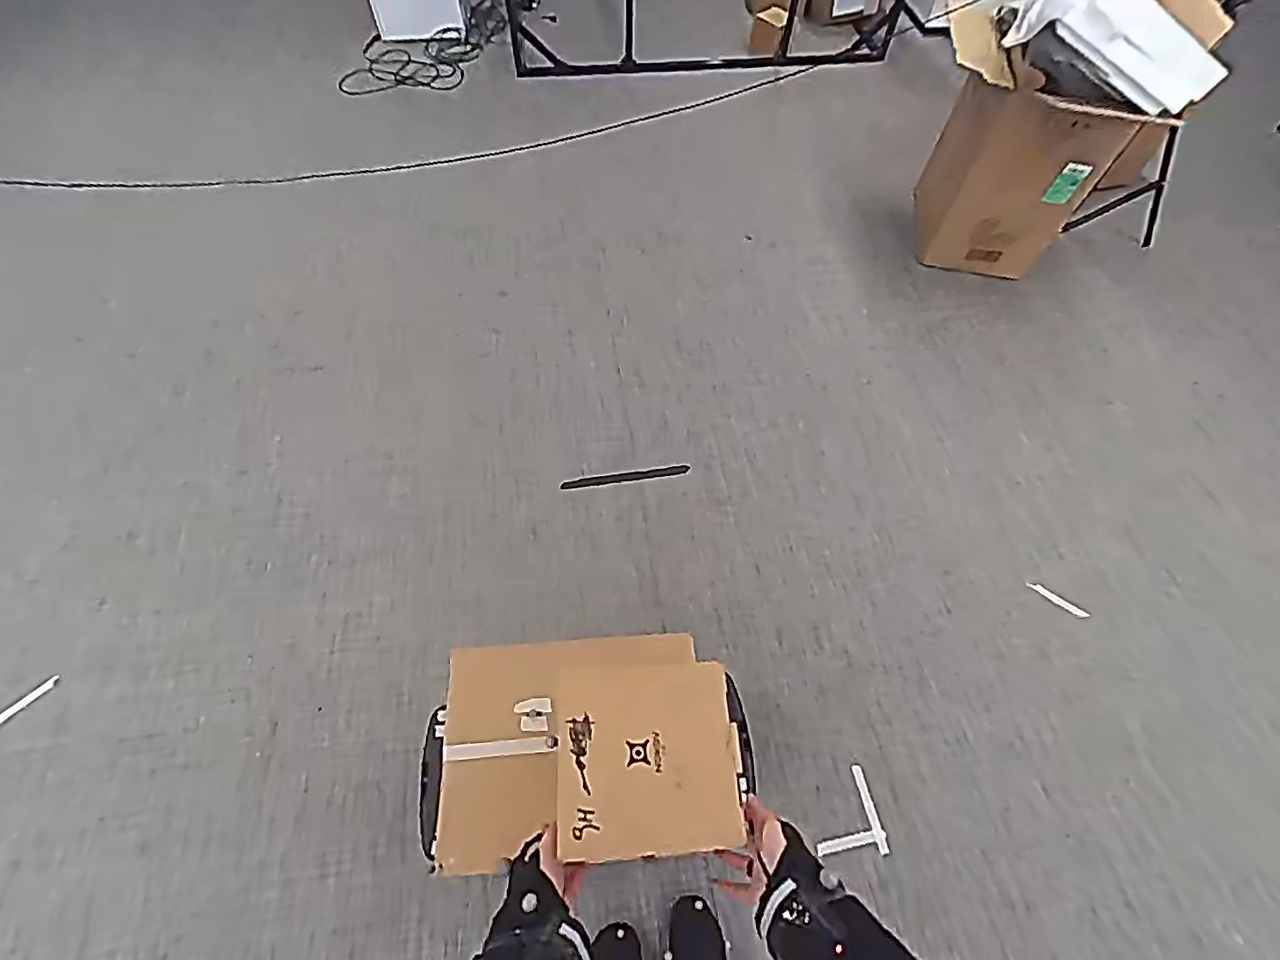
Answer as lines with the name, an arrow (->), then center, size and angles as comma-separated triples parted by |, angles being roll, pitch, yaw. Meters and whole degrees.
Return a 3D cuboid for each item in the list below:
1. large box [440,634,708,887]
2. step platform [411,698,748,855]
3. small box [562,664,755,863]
large box -> -0.093, 0.481, 0.953 | 0.408, 0.320, 0.320 | -4, 59, -3
step platform -> -0.117, 0.611, 1.152 | 0.684, 0.204, 0.286 | -2, 60, -2
small box -> 0.010, 0.303, 0.587 | 0.179, 0.176, 0.168 | -2, 59, -4
